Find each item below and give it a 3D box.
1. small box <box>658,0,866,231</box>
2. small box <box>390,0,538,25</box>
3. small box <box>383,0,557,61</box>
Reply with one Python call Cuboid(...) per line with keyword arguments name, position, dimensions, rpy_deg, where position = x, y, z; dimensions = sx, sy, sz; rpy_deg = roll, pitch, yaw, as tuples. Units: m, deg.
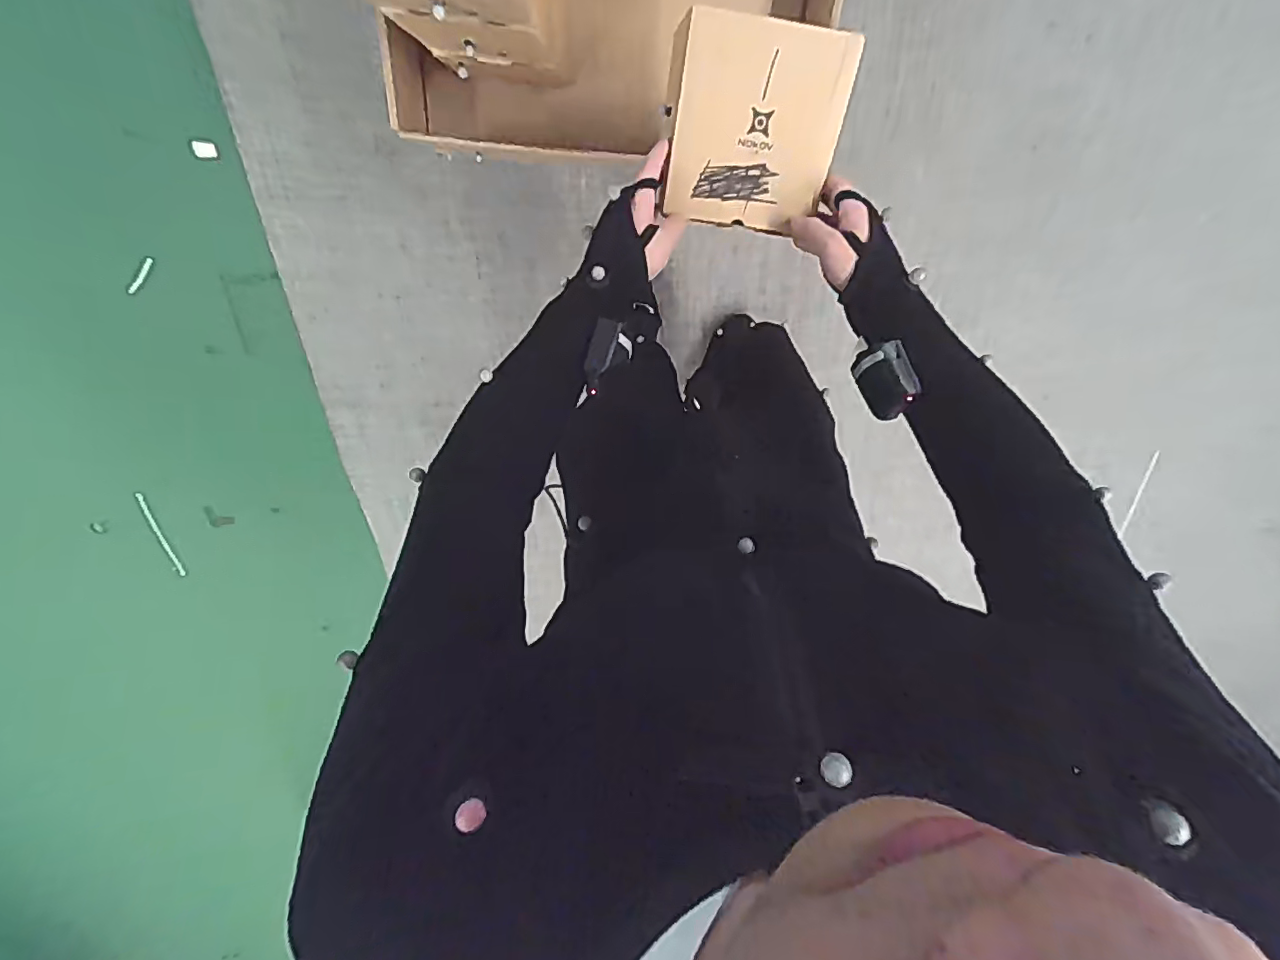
Cuboid(name="small box", position=(0.114, -0.392, 0.597), dimensions=(0.168, 0.176, 0.179), rpy_deg=(6, 122, -6))
Cuboid(name="small box", position=(-0.175, -0.522, 0.449), dimensions=(0.168, 0.176, 0.179), rpy_deg=(6, 118, -4))
Cuboid(name="small box", position=(-0.181, -0.597, 0.596), dimensions=(0.168, 0.176, 0.179), rpy_deg=(4, 119, -5))
